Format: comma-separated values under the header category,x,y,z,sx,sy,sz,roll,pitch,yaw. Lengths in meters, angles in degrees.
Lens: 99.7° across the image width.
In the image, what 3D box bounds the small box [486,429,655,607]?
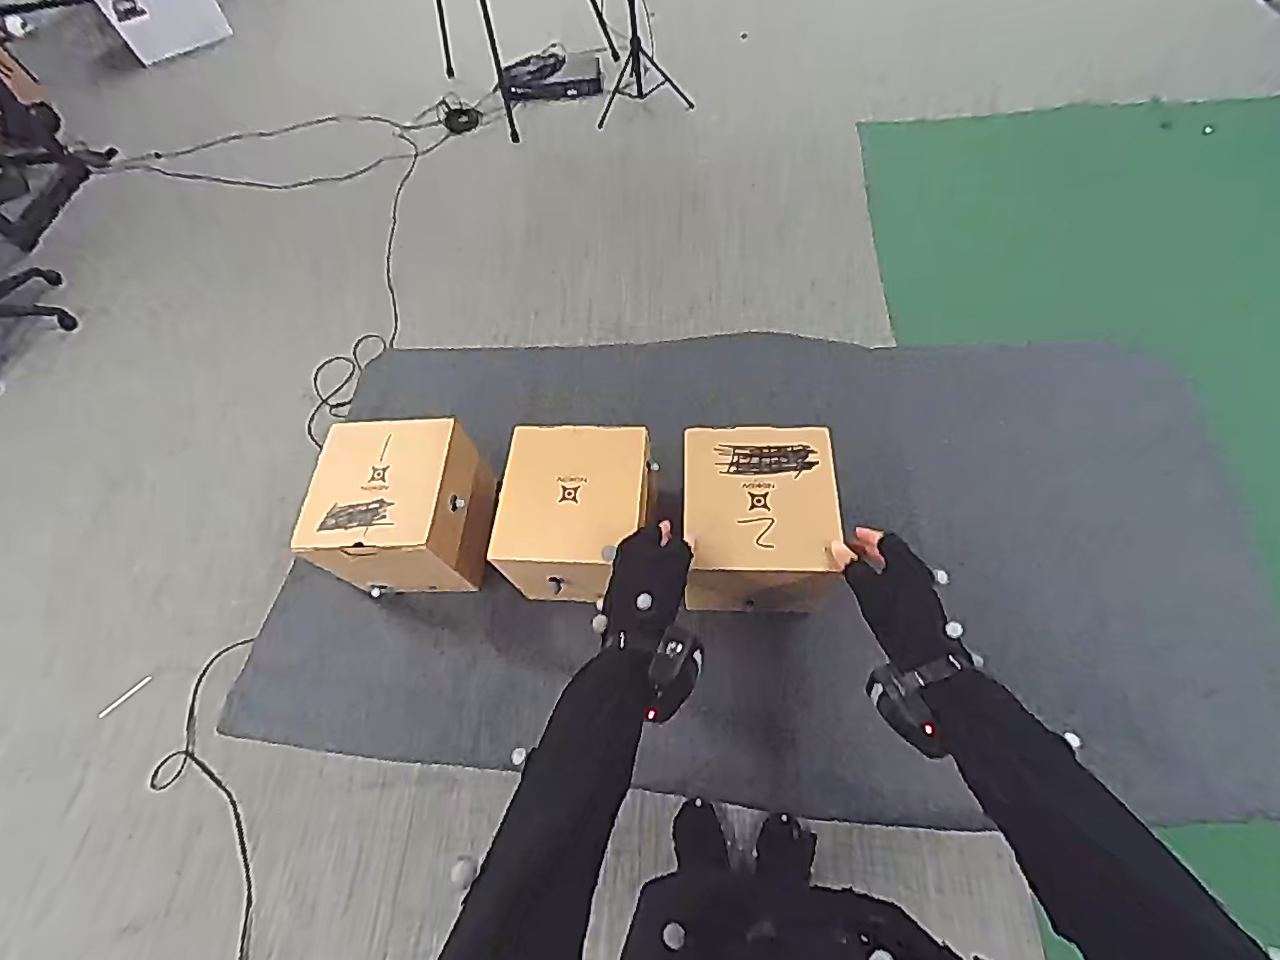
category,x,y,z,sx,sy,sz,roll,pitch,yaw
small box,-0.072,0.054,0.681,0.168,0.176,0.179,1,61,7

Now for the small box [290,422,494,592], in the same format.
category,x,y,z,sx,sy,sz,roll,pitch,yaw
small box,-0.306,0.044,0.711,0.168,0.176,0.179,-2,60,5
